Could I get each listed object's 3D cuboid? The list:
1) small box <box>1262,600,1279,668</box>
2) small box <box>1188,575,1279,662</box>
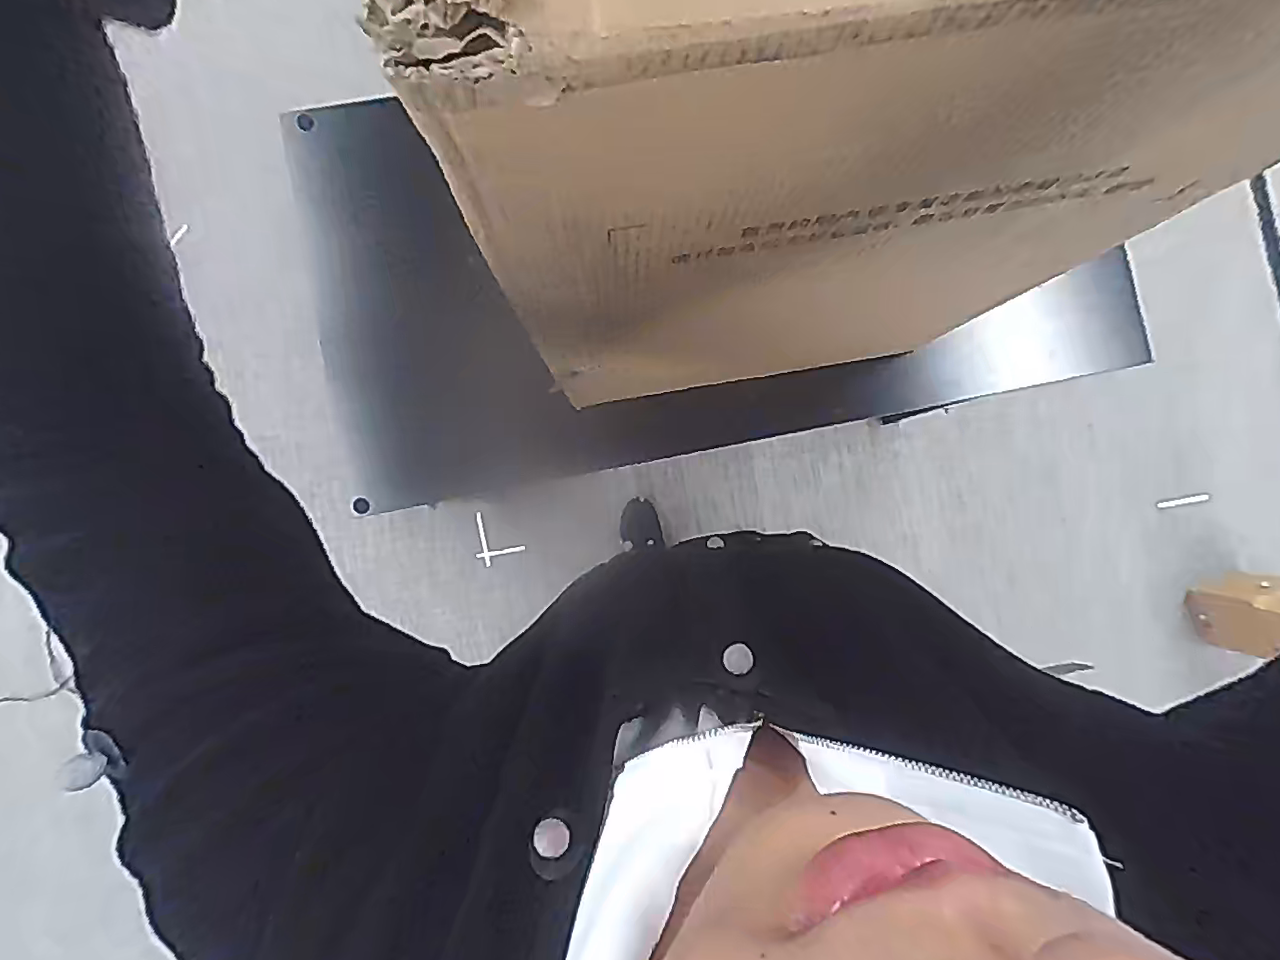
[{"bbox_3d":[1.672,0.377,1.297,0.179,0.176,0.168,-18,88,-2],"label":"small box"},{"bbox_3d":[1.665,0.365,1.461,0.179,0.176,0.168,-17,88,-1],"label":"small box"}]
